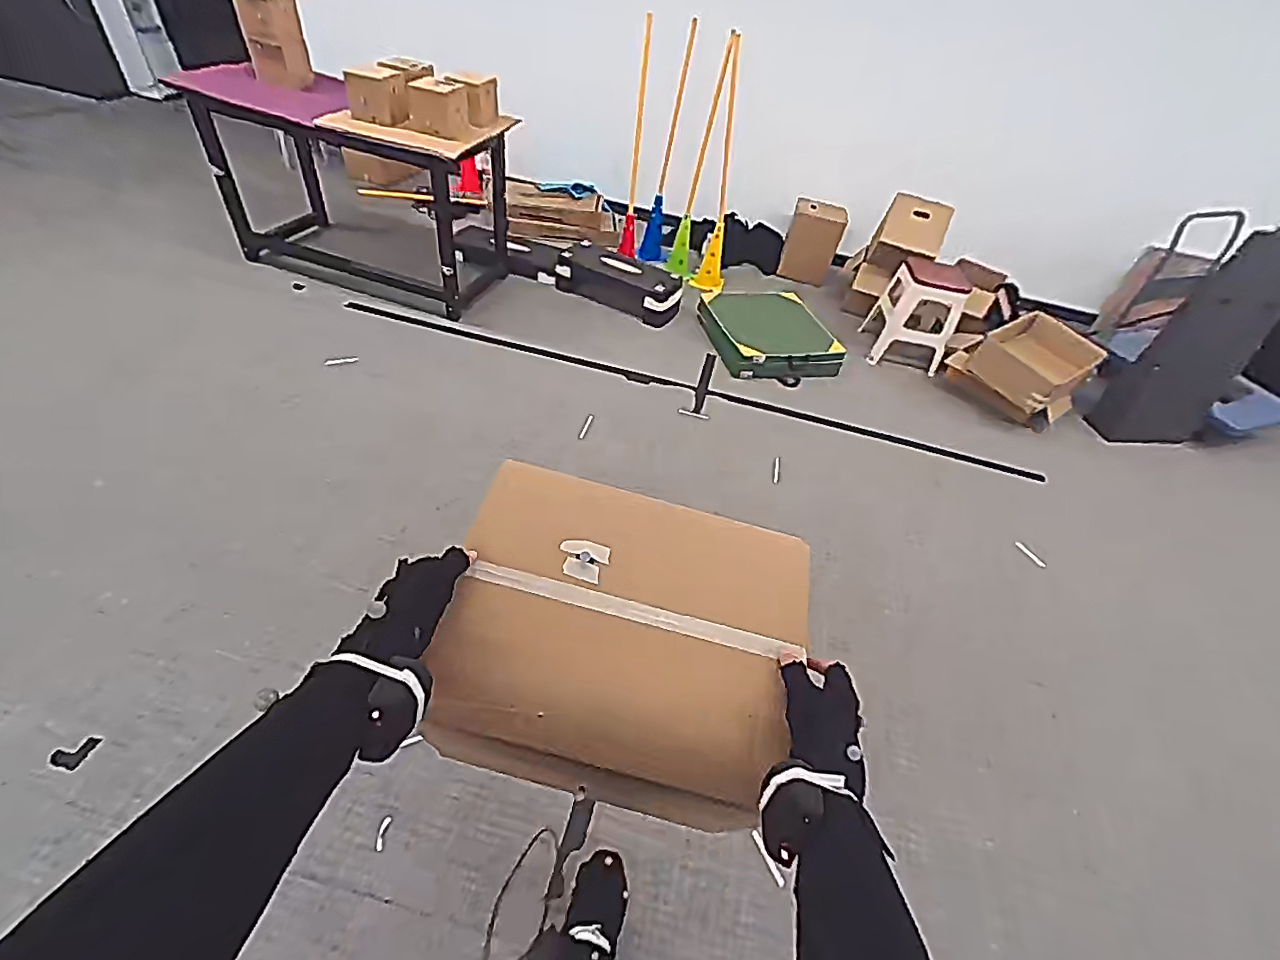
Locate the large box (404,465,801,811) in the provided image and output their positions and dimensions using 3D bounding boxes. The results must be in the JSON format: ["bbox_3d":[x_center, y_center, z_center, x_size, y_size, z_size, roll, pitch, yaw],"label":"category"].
[{"bbox_3d":[-0.031,0.229,0.739,0.408,0.320,0.320,15,54,1],"label":"large box"}]
